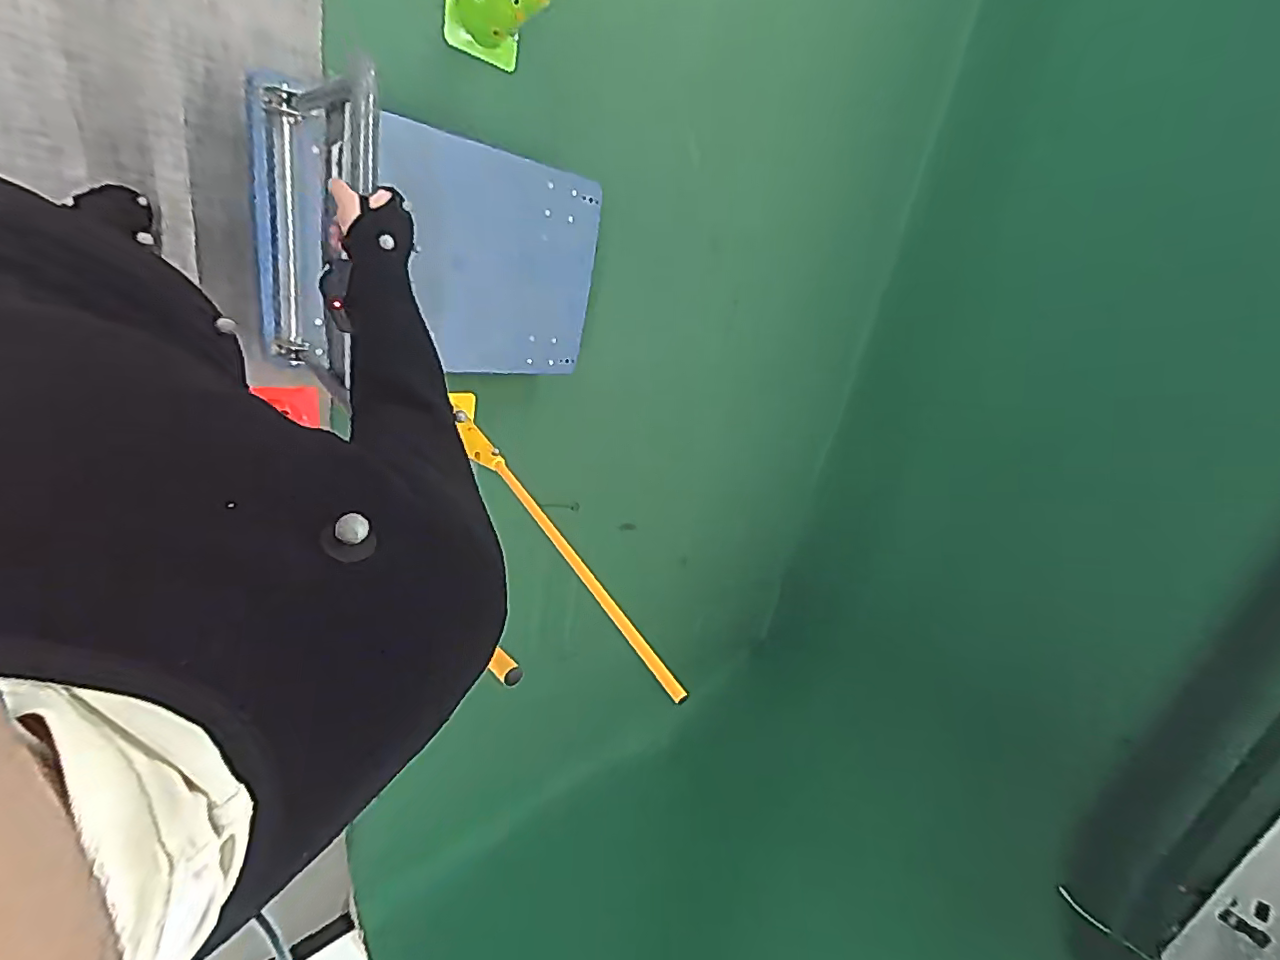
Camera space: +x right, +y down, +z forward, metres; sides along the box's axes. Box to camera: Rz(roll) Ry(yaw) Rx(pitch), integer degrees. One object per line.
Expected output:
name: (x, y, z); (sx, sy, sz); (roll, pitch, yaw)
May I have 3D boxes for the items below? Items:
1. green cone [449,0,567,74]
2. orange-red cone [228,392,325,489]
green cone: (-0.269, -1.113, 1.258); (0.202, 0.368, 0.200); (-9, 118, -44)
orange-red cone: (-0.832, -0.066, 1.301); (0.199, 0.360, 0.198); (-9, 120, -45)
